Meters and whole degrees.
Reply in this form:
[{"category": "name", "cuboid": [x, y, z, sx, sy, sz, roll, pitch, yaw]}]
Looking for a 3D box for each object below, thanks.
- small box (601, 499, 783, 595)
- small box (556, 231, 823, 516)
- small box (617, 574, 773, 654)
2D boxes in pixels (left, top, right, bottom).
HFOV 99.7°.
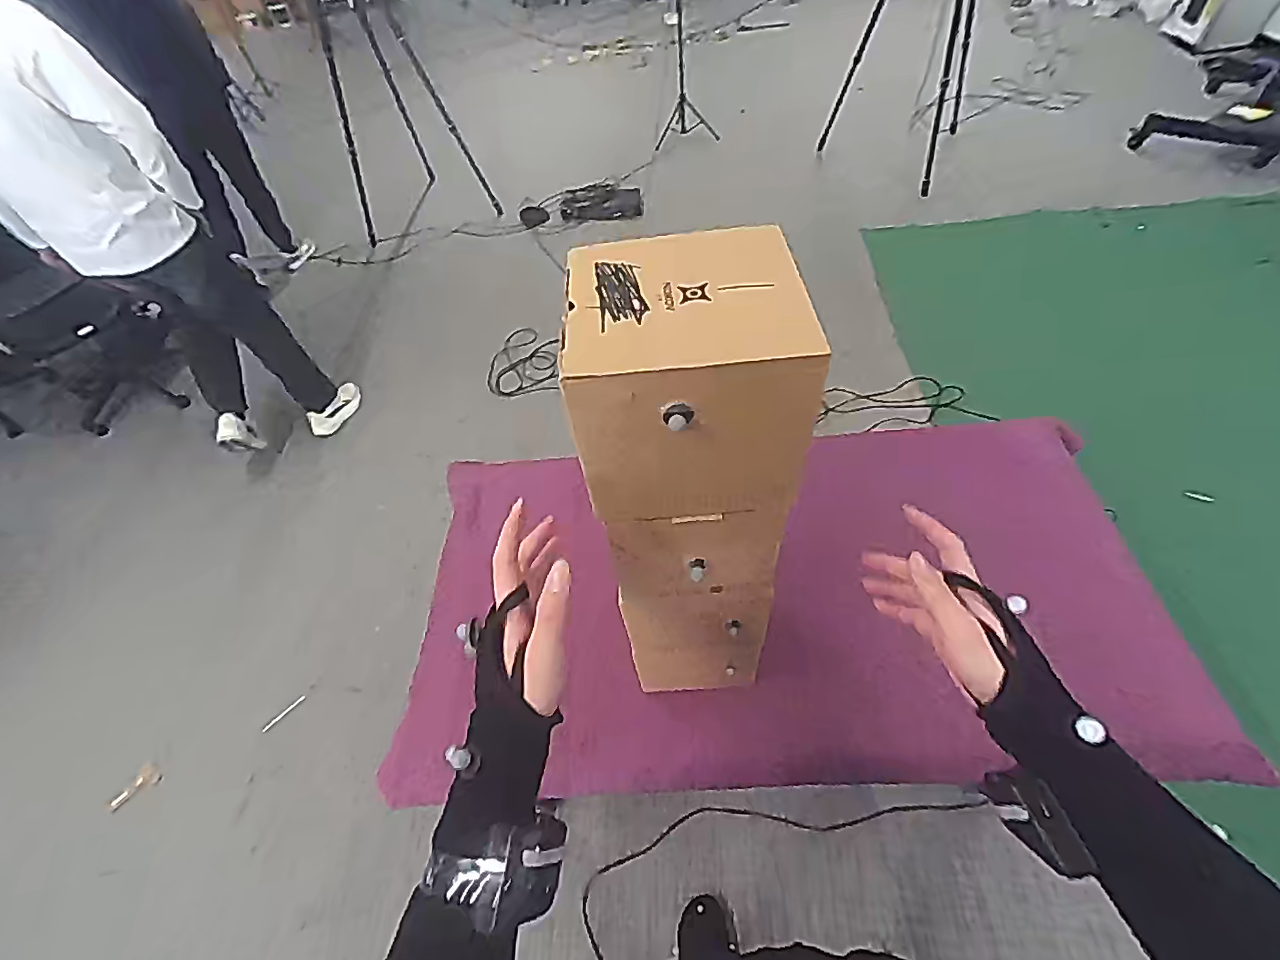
[{"category": "small box", "cuboid": [0.052, 0.016, 0.589, 0.168, 0.176, 0.179, -5, 53, 3]}, {"category": "small box", "cuboid": [0.037, -0.083, 0.457, 0.179, 0.176, 0.168, -5, 51, 2]}, {"category": "small box", "cuboid": [0.068, 0.120, 0.713, 0.179, 0.176, 0.168, -4, 52, 4]}]
